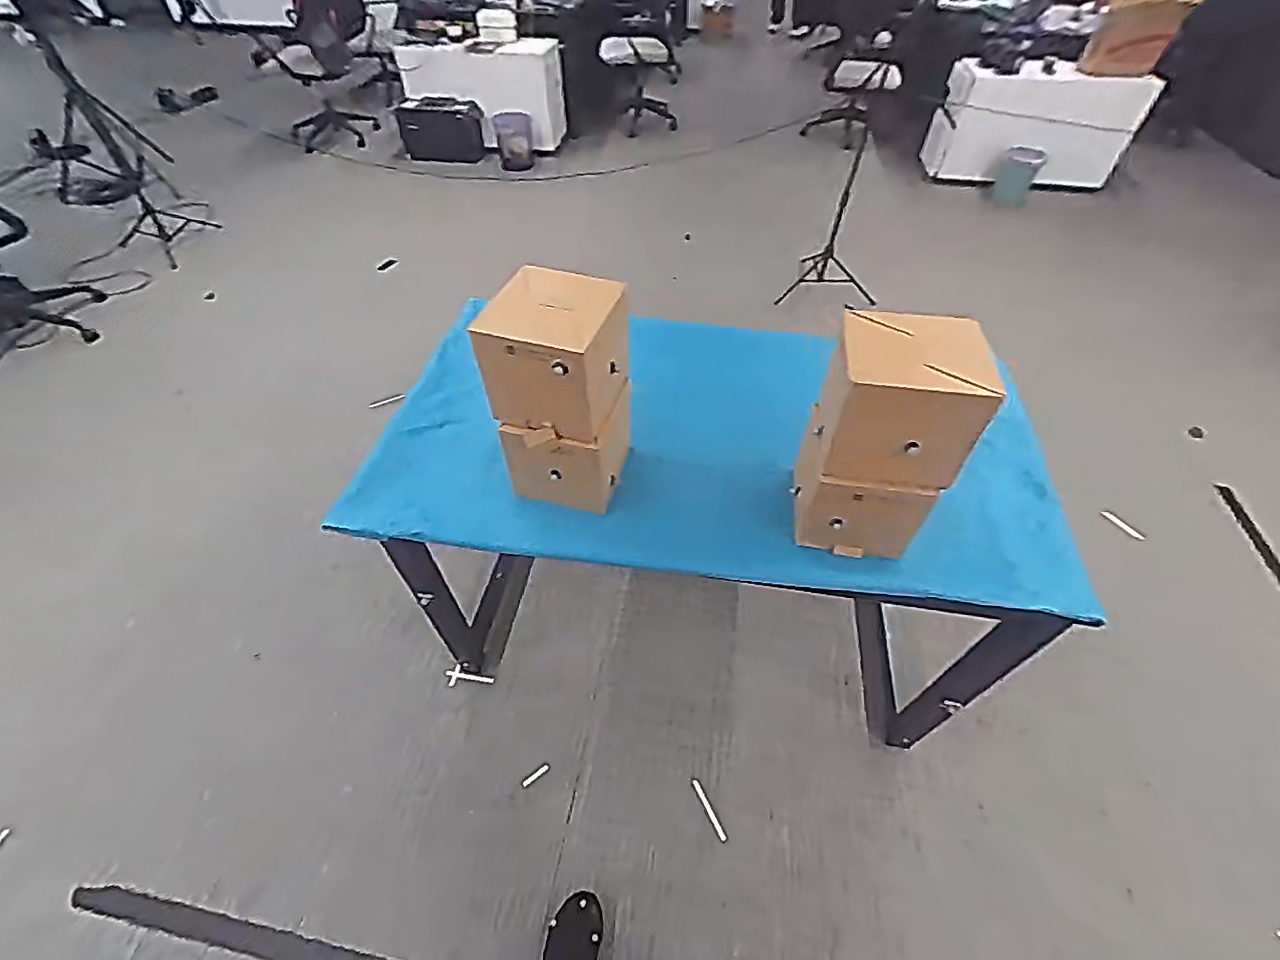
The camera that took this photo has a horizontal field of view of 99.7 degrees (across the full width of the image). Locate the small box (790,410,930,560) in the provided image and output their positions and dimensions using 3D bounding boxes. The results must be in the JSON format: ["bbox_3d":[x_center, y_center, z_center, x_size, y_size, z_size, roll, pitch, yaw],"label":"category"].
[{"bbox_3d":[0.345,0.003,0.873,0.168,0.176,0.179,7,49,6],"label":"small box"}]

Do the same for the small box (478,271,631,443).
[{"bbox_3d":[-0.119,-0.187,0.812,0.168,0.176,0.179,15,53,11],"label":"small box"}]

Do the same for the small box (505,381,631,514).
[{"bbox_3d":[-0.116,-0.071,0.930,0.168,0.176,0.179,12,51,8],"label":"small box"}]

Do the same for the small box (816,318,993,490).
[{"bbox_3d":[0.353,-0.108,0.753,0.179,0.176,0.168,7,48,9],"label":"small box"}]
